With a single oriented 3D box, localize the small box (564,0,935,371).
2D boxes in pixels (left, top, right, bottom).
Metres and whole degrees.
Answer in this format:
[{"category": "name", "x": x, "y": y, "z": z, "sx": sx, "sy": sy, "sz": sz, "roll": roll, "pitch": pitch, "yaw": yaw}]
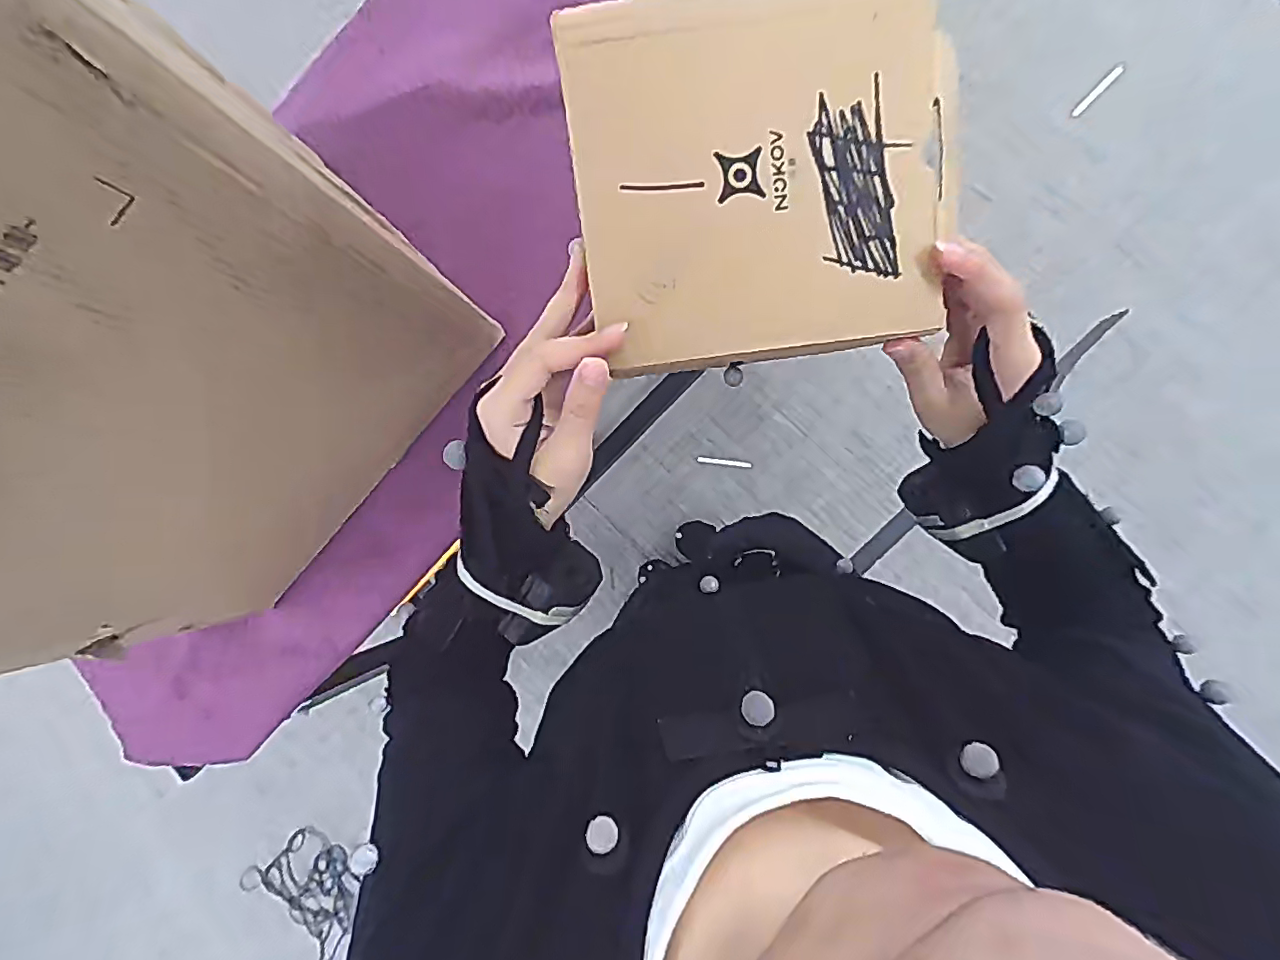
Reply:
[{"category": "small box", "x": 0.057, "y": -0.162, "z": 0.345, "sx": 0.179, "sy": 0.176, "sz": 0.168, "roll": -7, "pitch": 99, "yaw": 2}]
